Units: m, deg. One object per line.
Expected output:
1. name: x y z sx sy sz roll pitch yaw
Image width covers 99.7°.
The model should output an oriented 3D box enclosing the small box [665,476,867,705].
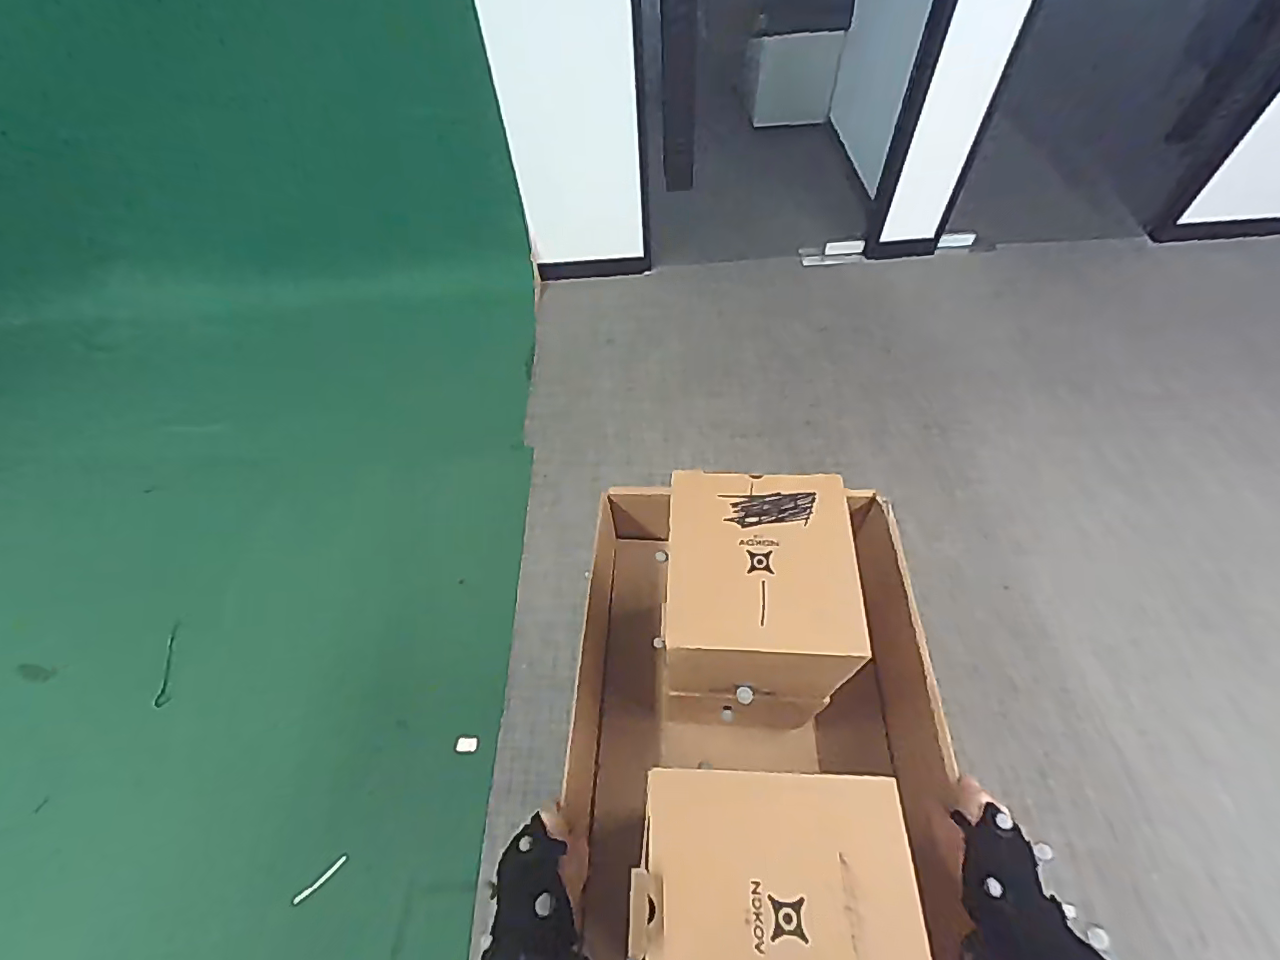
1. small box: 0.112 0.116 0.552 0.168 0.176 0.179 3 58 5

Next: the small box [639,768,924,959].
1. small box: 0.092 0.326 0.411 0.179 0.176 0.168 1 55 3
